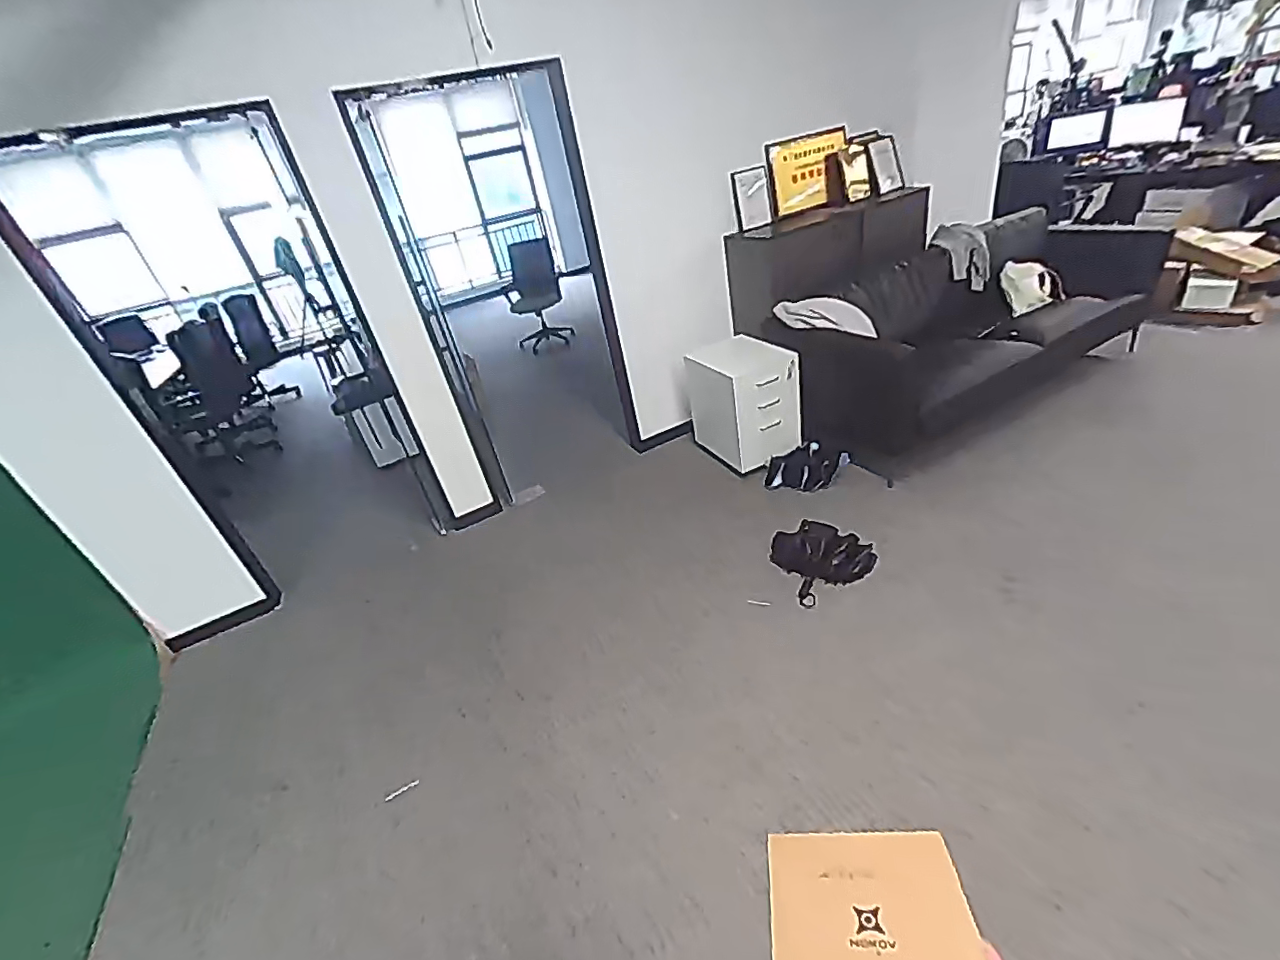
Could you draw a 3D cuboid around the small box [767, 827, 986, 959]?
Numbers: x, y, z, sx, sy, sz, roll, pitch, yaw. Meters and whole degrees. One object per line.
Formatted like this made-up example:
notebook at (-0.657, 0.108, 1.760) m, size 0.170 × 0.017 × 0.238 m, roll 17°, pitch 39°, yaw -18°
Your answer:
small box at (0.208, 0.446, 0.474) m, size 0.168 × 0.176 × 0.179 m, roll -9°, pitch 13°, yaw 13°
